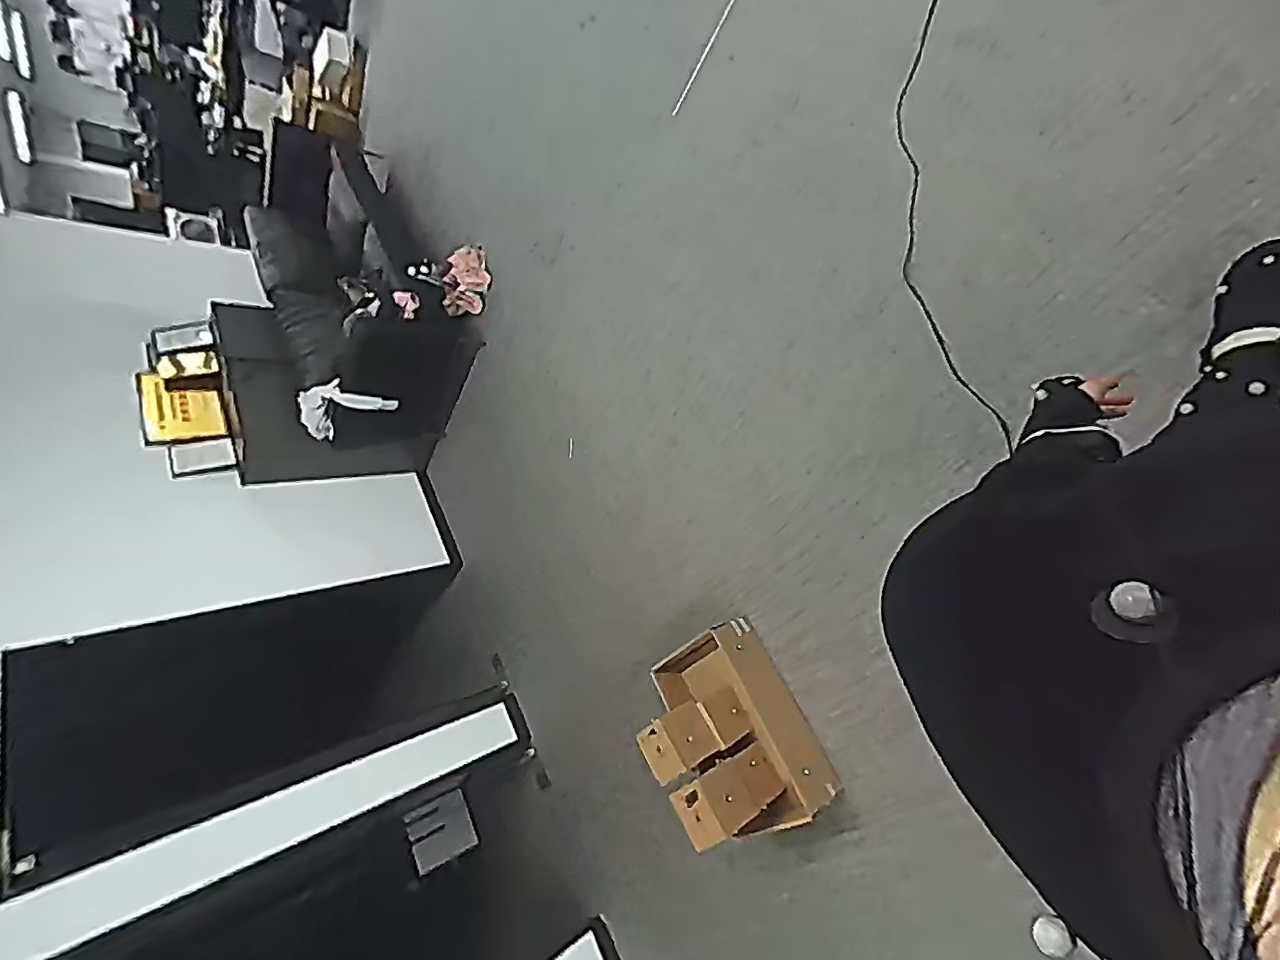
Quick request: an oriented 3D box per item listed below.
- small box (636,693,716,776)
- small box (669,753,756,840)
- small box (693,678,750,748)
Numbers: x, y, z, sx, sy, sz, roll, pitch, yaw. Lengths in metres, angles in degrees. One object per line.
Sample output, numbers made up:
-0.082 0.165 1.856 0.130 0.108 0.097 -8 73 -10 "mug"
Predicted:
0.124 0.852 1.820 0.179 0.176 0.168 57 131 24 "small box"
0.230 0.999 1.722 0.168 0.176 0.179 -52 58 36 "small box"
0.256 0.833 1.918 0.179 0.176 0.168 -48 63 38 "small box"
